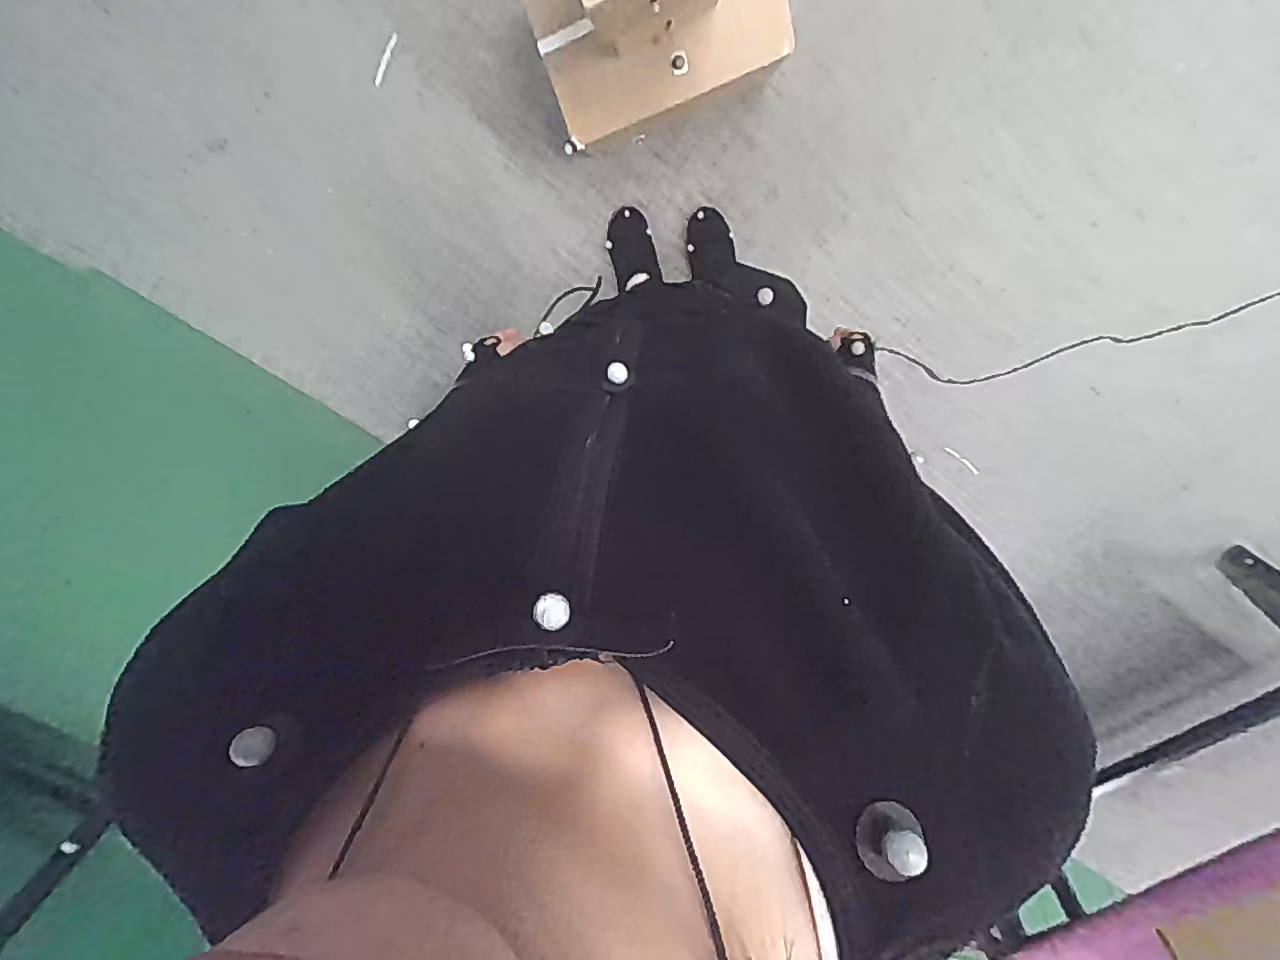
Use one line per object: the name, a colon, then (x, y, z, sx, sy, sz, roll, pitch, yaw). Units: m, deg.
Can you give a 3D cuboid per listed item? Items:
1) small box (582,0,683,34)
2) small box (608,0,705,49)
small box: (-0.005, -0.669, 0.631, 0.179, 0.176, 0.168, -16, 116, 12)
small box: (0.006, -0.762, 0.768, 0.179, 0.176, 0.168, -20, 114, 13)
